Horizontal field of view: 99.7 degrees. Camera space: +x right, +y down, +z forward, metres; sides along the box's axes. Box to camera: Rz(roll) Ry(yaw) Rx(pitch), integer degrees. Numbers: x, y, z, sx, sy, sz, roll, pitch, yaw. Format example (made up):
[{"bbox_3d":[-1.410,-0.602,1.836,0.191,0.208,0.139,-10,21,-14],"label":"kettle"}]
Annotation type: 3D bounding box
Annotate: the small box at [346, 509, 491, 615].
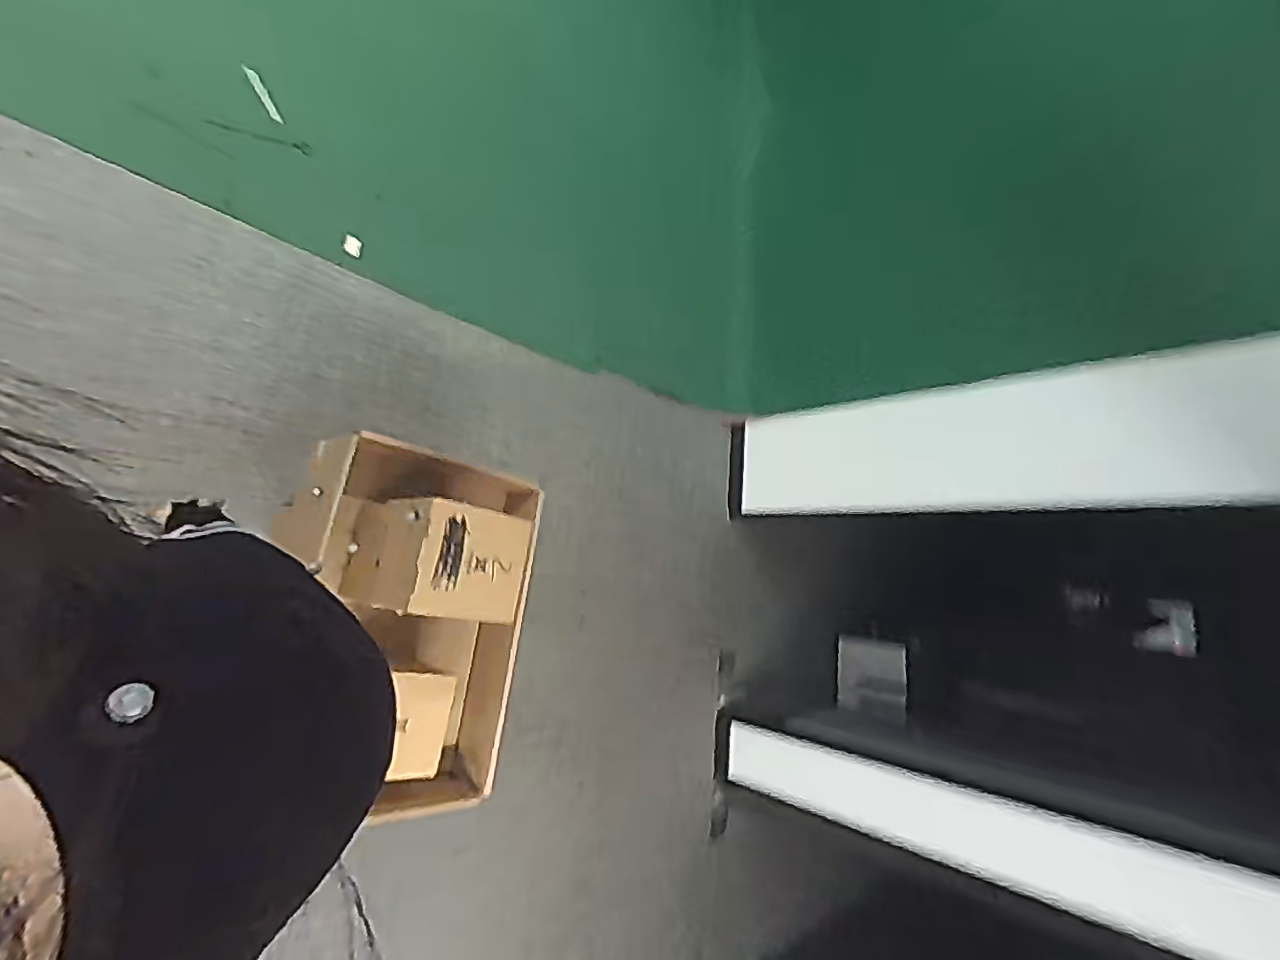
[{"bbox_3d":[-0.406,0.149,0.992,0.179,0.176,0.168,19,74,-42],"label":"small box"}]
